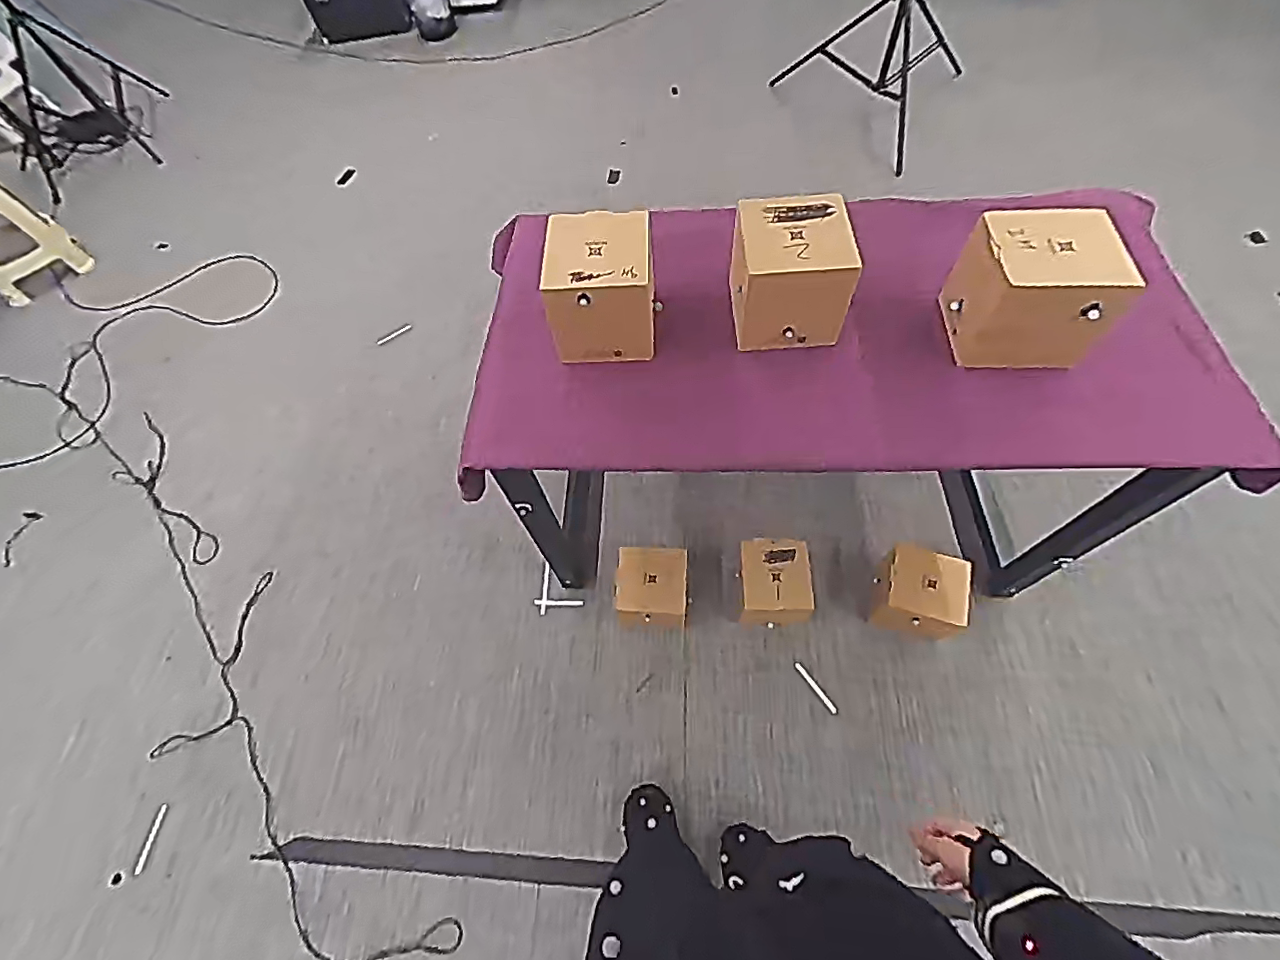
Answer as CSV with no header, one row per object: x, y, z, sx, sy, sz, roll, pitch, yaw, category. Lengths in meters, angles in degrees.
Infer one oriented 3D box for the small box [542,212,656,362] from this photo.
-0.060,-0.321,0.911,0.168,0.176,0.179,-2,61,4,small box

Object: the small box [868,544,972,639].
0.693,0.284,1.348,0.179,0.176,0.168,15,64,14,small box

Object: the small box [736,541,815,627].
0.339,0.269,1.385,0.168,0.176,0.179,-1,62,5,small box

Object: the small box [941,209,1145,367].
0.603,-0.291,0.837,0.179,0.176,0.168,1,60,6,small box
